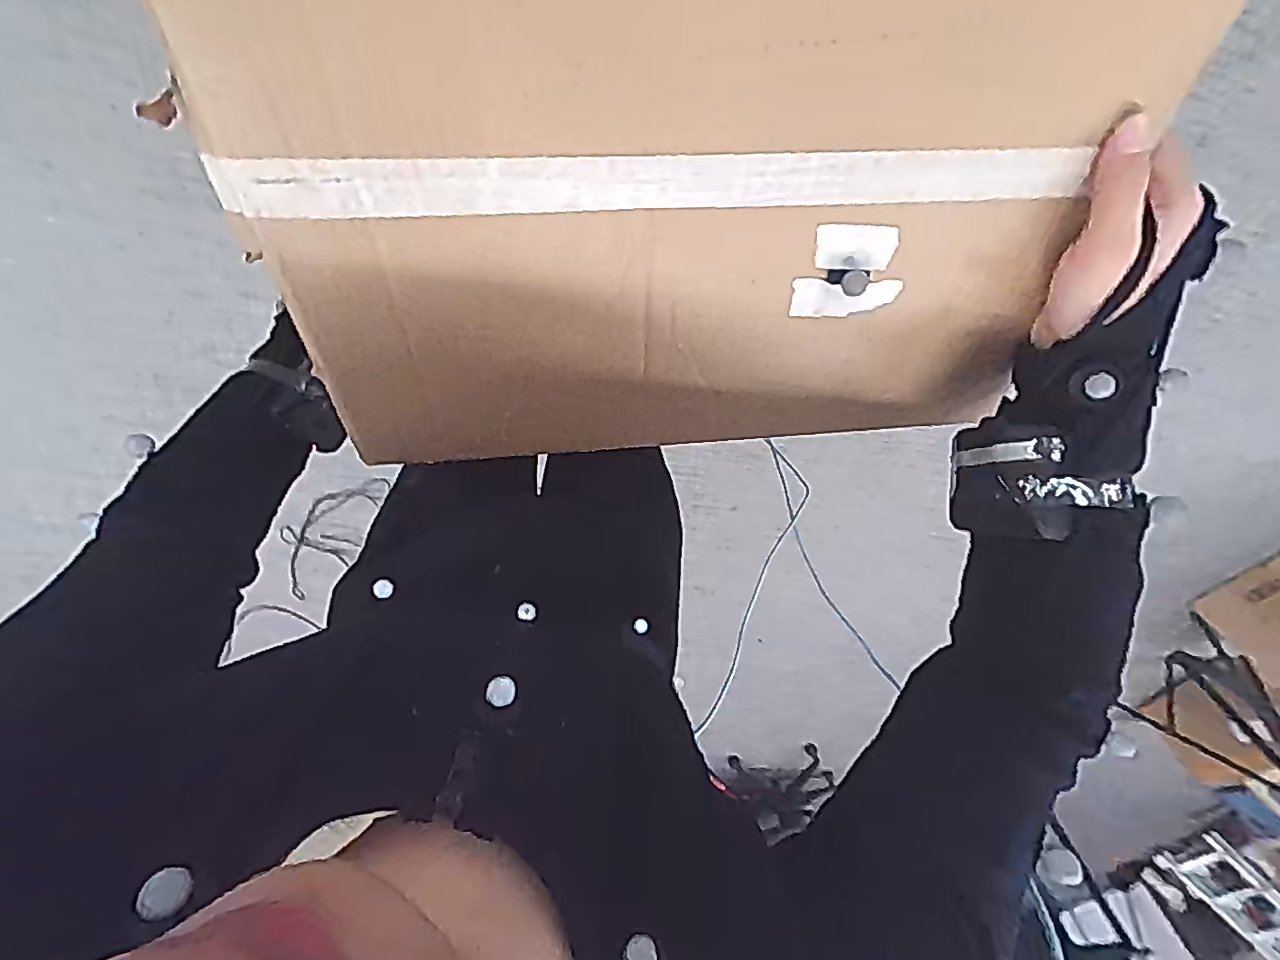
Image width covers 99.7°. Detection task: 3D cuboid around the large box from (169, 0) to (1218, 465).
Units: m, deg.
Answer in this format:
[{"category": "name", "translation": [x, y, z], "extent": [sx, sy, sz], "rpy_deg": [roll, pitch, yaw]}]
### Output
[{"category": "large box", "translation": [0.014, -0.242, 0.345], "extent": [0.408, 0.320, 0.320], "rpy_deg": [-6, 136, -7]}]
